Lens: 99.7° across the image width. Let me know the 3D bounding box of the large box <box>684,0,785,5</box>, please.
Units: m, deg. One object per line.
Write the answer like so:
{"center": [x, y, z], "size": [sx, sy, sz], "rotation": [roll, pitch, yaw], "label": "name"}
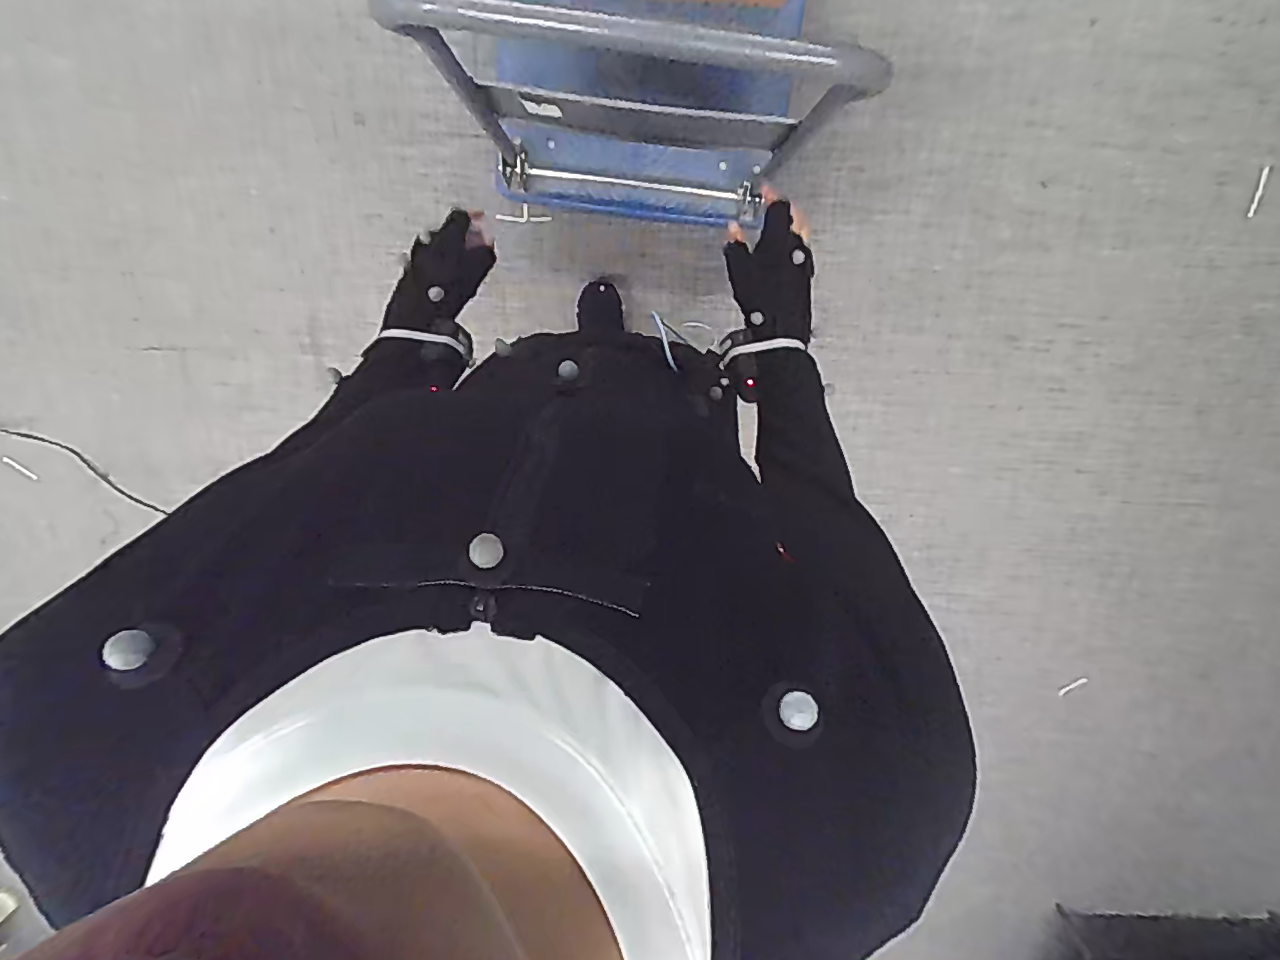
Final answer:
{"center": [0.085, -1.005, 0.839], "size": [0.408, 0.320, 0.320], "rotation": [3, 107, 0], "label": "large box"}
